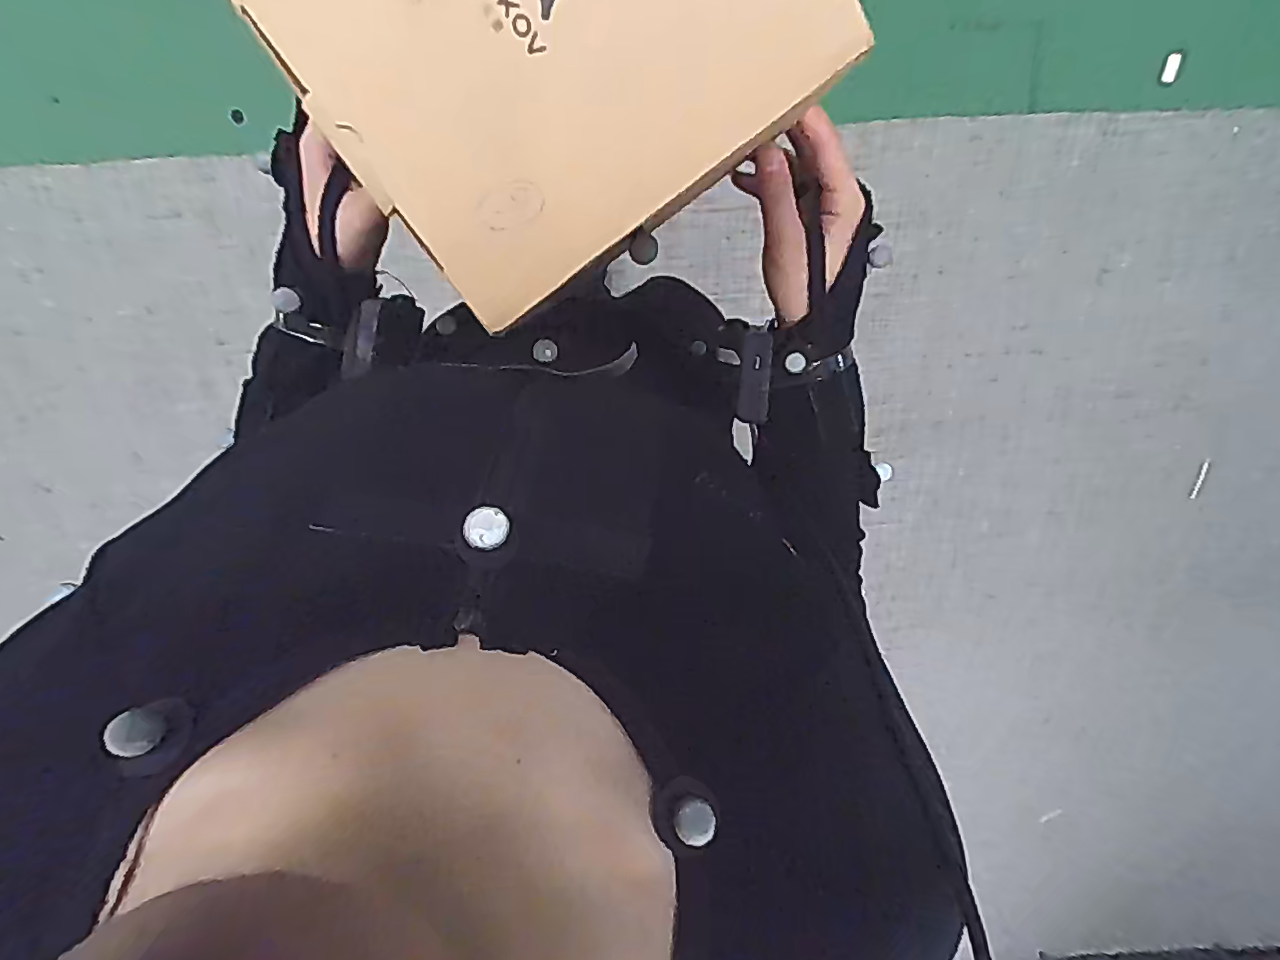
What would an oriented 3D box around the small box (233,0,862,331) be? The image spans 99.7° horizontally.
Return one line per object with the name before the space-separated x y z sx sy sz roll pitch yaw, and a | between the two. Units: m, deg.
small box | -0.034 -0.195 0.257 0.179 0.176 0.168 -32 108 14
